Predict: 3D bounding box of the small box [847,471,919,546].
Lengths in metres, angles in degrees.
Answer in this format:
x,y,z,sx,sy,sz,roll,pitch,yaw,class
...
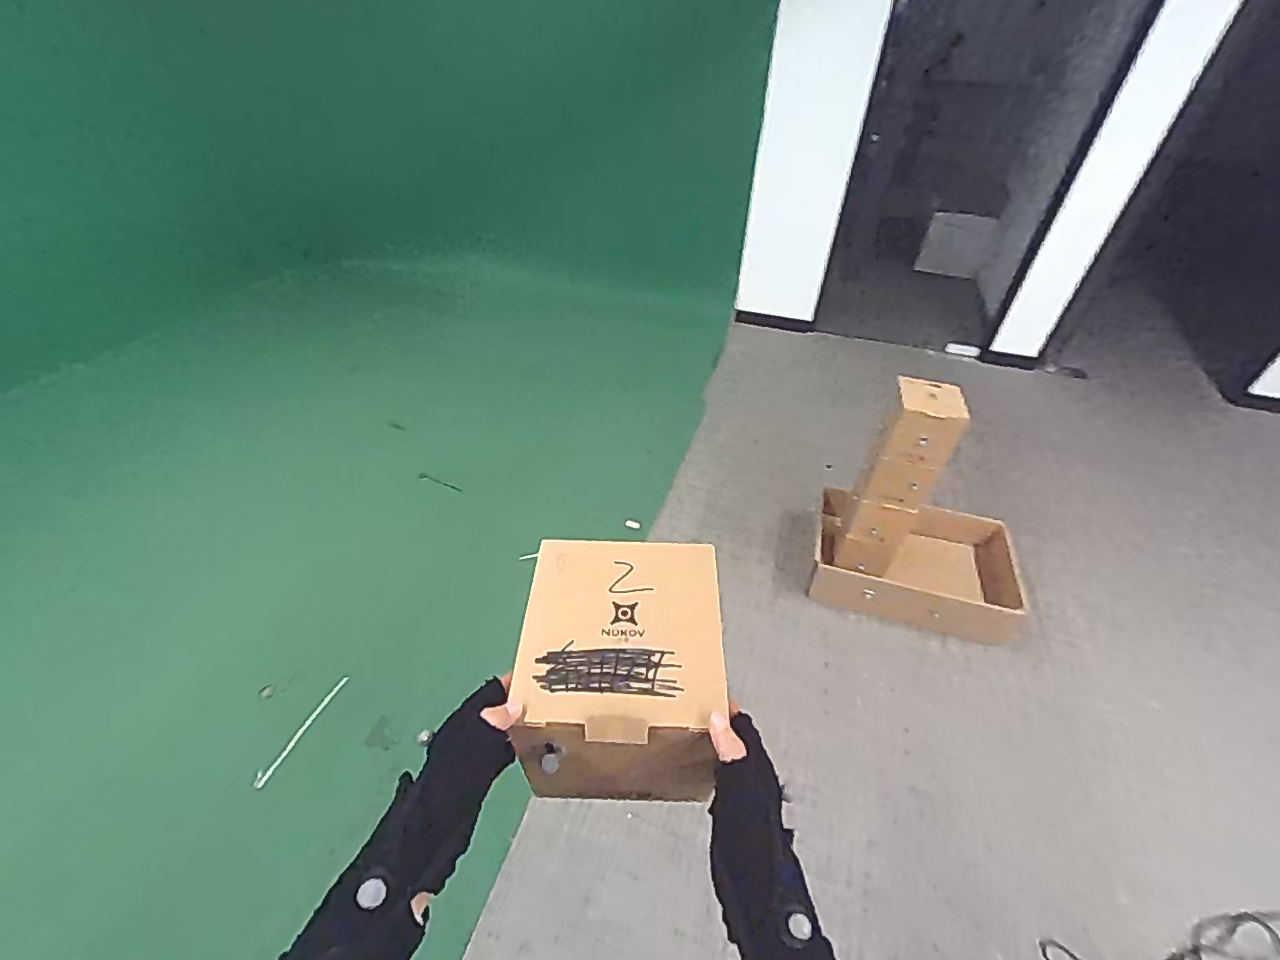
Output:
x,y,z,sx,sy,sz,roll,pitch,yaw,class
0.768,0.079,1.725,0.168,0.176,0.179,14,43,11,small box

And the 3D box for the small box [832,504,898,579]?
x,y,z,sx,sy,sz,roll,pitch,yaw,class
0.760,0.201,1.832,0.168,0.176,0.179,14,43,12,small box

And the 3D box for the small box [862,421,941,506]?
x,y,z,sx,sy,sz,roll,pitch,yaw,class
0.776,-0.047,1.620,0.168,0.176,0.179,13,43,9,small box

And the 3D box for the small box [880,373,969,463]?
x,y,z,sx,sy,sz,roll,pitch,yaw,class
0.786,-0.171,1.513,0.168,0.176,0.179,14,44,9,small box
